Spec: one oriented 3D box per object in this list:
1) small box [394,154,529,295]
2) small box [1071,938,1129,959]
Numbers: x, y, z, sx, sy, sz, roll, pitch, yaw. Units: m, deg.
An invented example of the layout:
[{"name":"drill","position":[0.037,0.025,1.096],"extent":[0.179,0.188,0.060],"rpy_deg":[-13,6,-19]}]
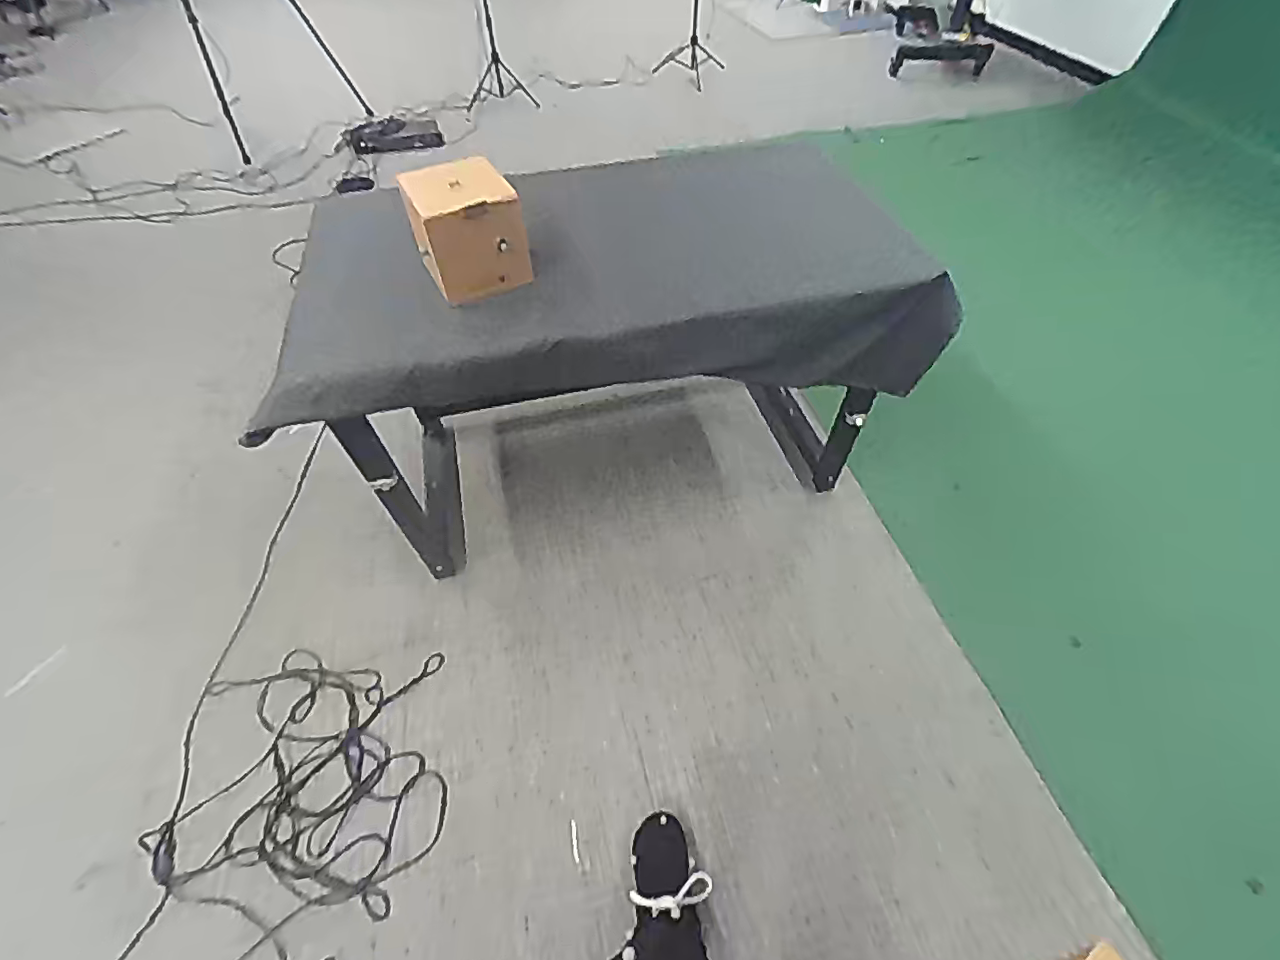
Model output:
[{"name":"small box","position":[-0.315,-0.456,0.981],"extent":[0.168,0.176,0.179],"rpy_deg":[-24,55,-19]},{"name":"small box","position":[0.425,0.583,0.499],"extent":[0.179,0.176,0.168],"rpy_deg":[10,30,-36]}]
